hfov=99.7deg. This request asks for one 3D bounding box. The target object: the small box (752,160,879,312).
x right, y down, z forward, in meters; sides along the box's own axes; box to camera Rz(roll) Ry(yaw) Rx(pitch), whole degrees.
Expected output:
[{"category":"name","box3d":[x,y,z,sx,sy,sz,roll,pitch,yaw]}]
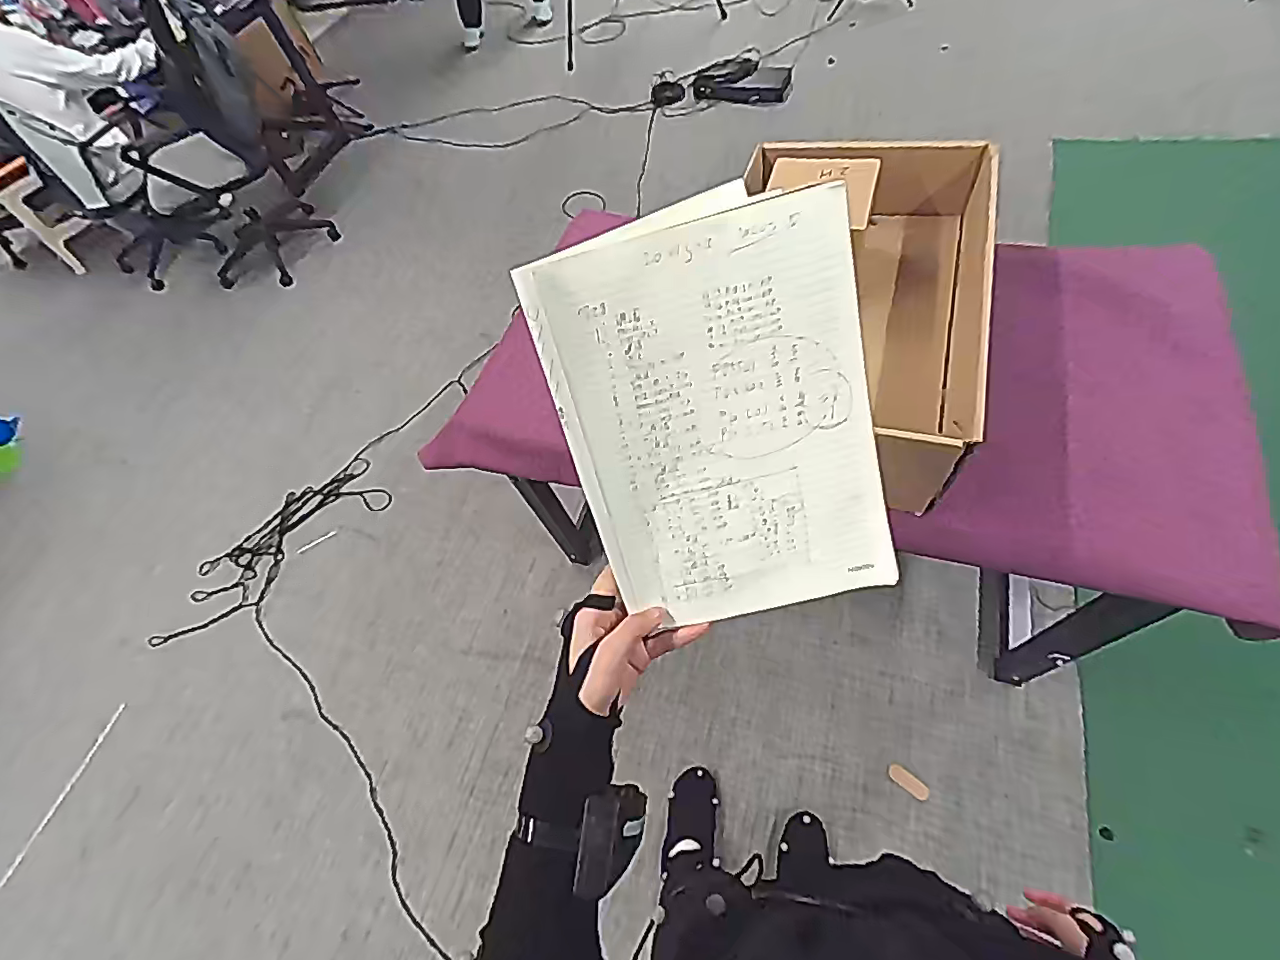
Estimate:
[{"category":"small box","box3d":[0.294,-0.410,0.917,0.168,0.176,0.179,12,64,19]}]
